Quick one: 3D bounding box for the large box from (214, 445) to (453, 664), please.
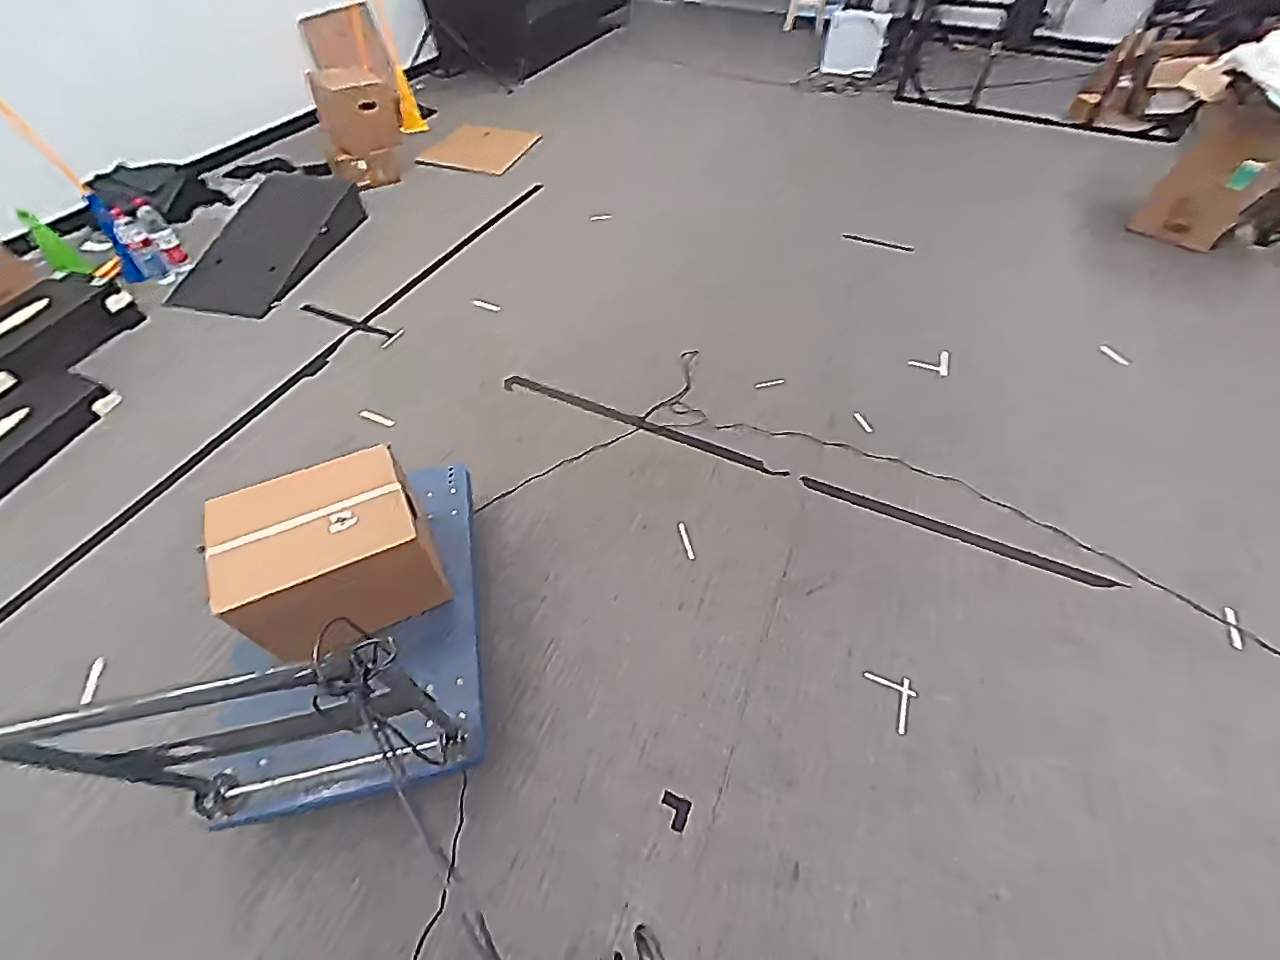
[{"bbox_3d":[-0.727,0.181,1.321,0.408,0.320,0.320,-21,56,-18],"label":"large box"}]
